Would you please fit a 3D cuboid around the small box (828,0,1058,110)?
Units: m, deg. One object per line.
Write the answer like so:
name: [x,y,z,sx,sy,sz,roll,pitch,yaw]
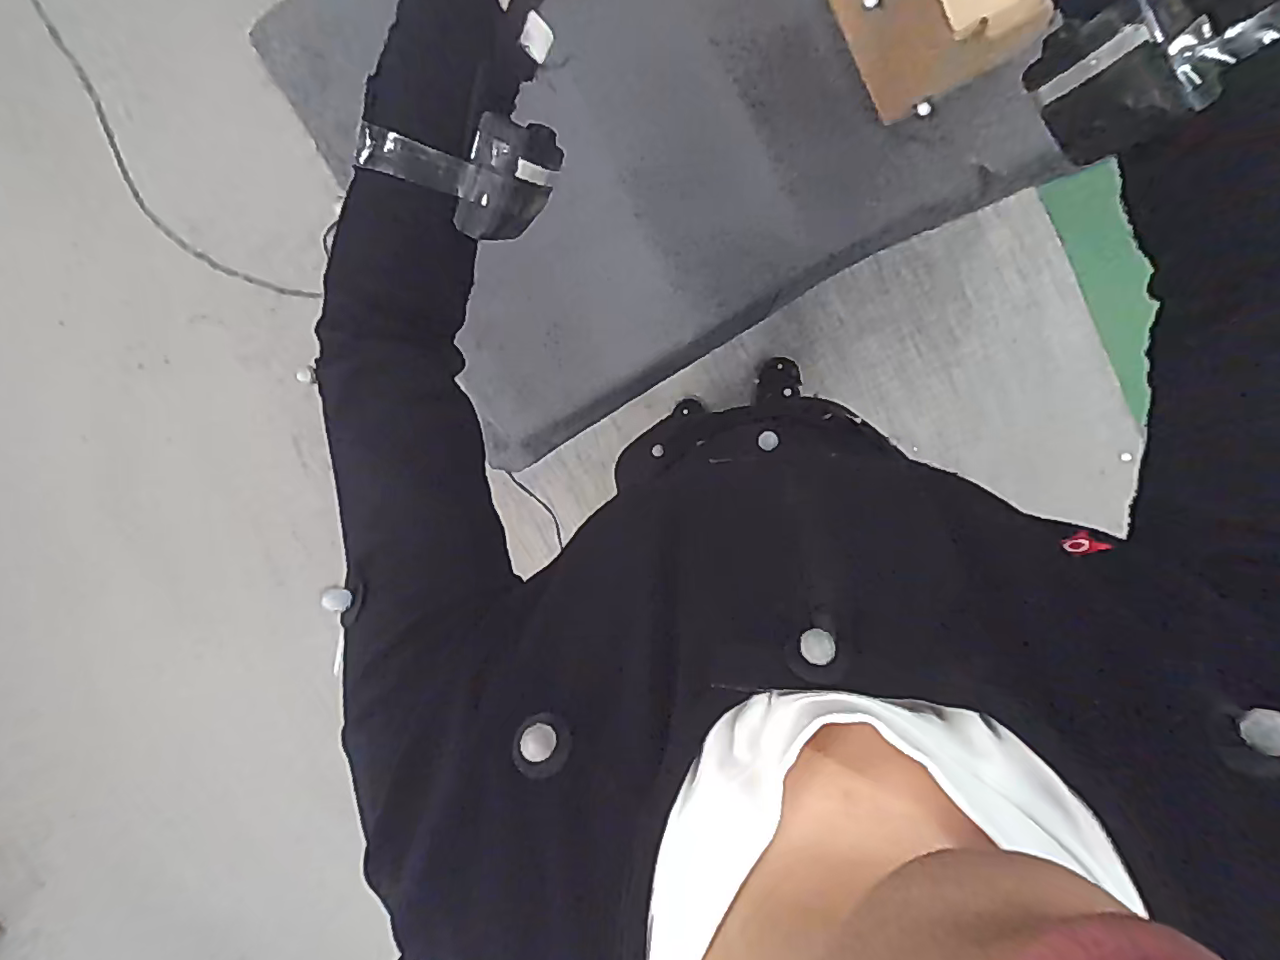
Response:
small box: [0.313,-0.517,0.543,0.168,0.176,0.179,-27,96,8]
